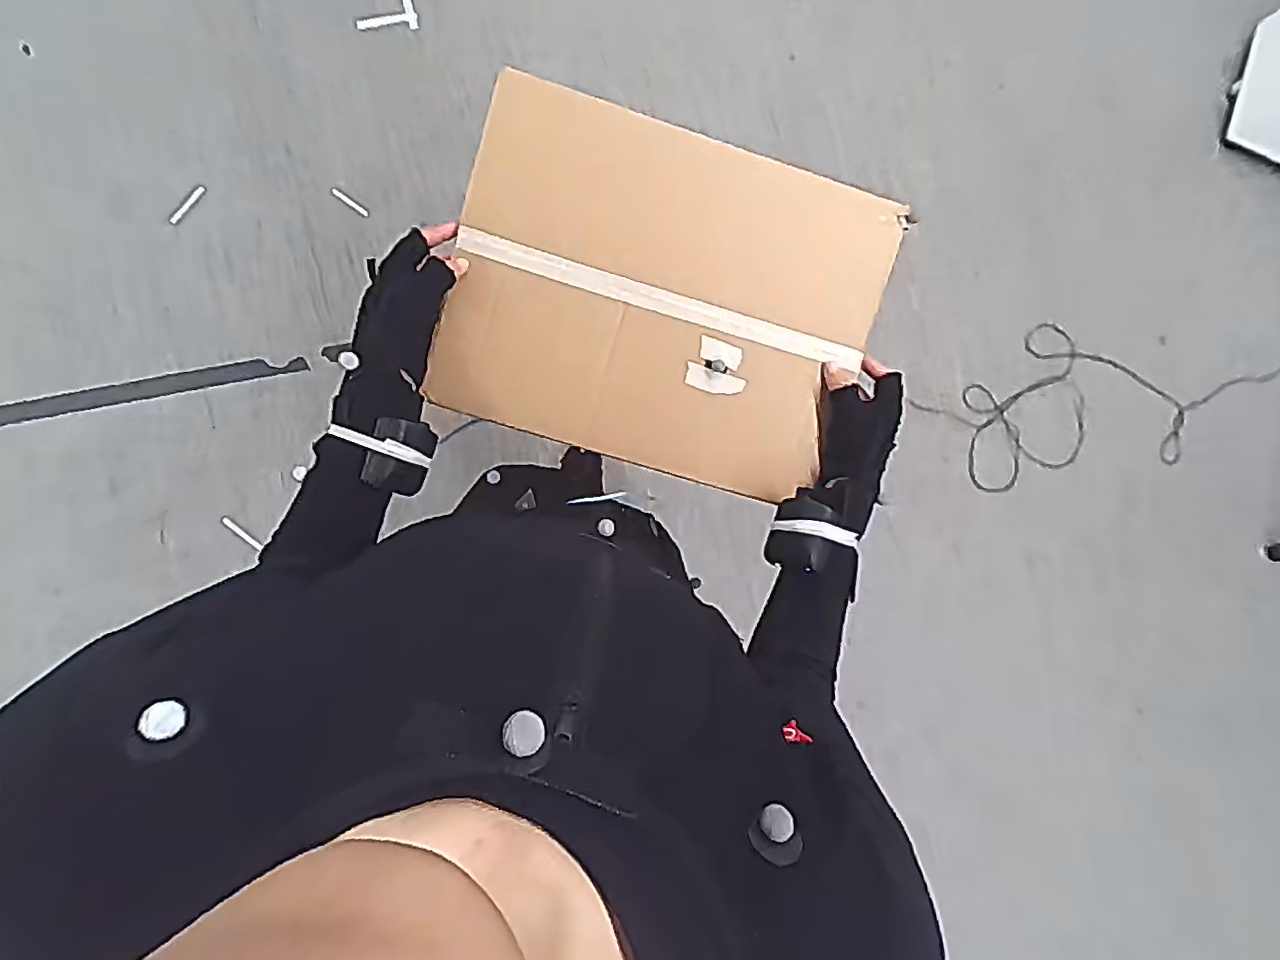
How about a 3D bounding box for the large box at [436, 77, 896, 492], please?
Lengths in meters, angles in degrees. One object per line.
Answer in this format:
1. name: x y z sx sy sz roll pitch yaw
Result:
1. large box: 0.017 -0.200 0.684 0.408 0.320 0.320 17 96 -5
